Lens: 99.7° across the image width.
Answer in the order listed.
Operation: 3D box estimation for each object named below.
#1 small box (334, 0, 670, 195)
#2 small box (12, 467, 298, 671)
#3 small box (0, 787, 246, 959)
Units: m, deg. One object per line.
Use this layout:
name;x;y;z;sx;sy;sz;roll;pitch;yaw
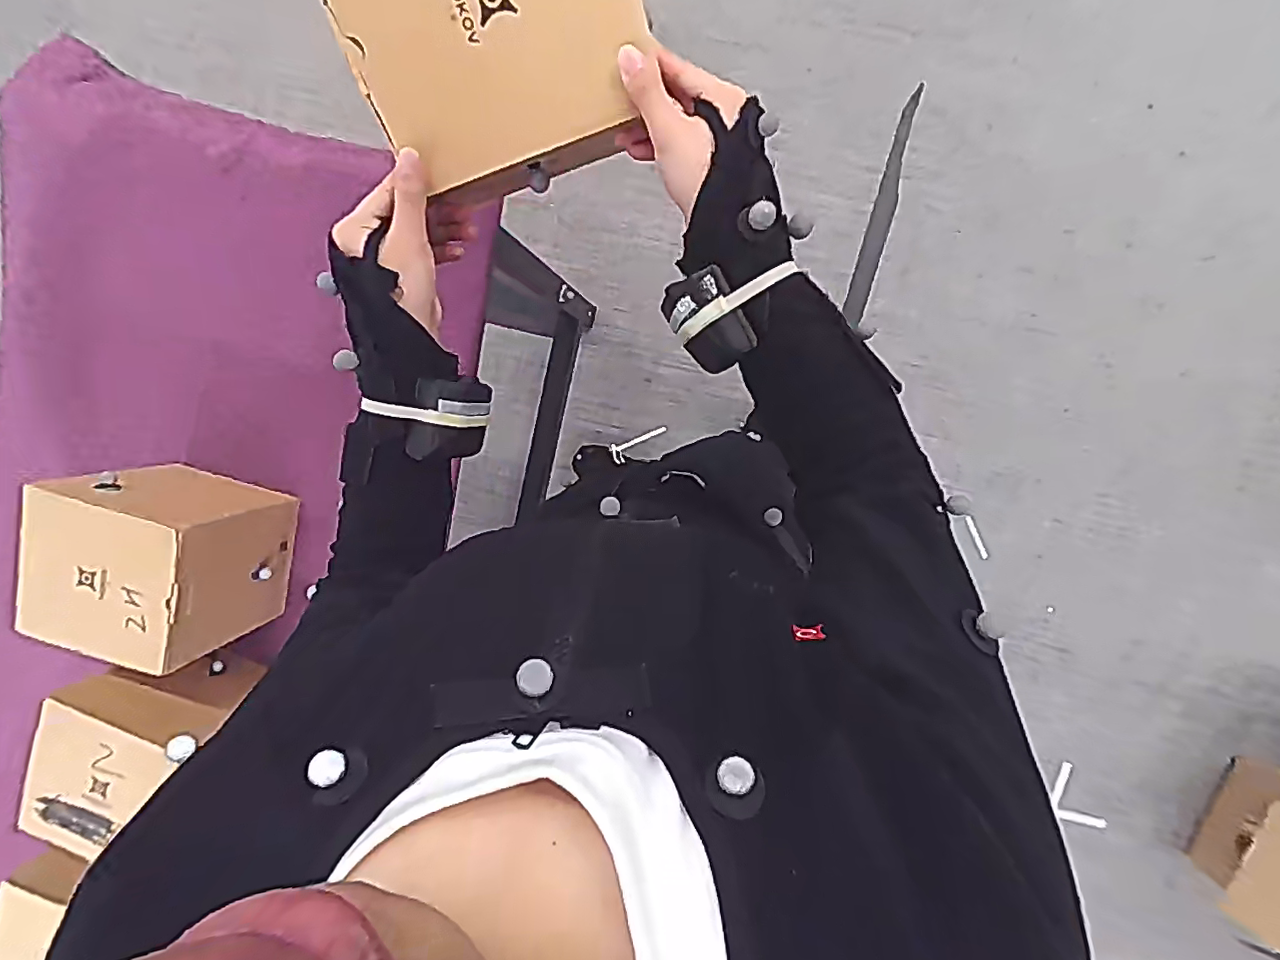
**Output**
small box;-0.092;-0.317;0.381;0.179;0.176;0.168;-17;115;5
small box;-0.546;0.086;0.627;0.179;0.176;0.168;15;100;3
small box;-0.665;0.543;0.703;0.179;0.176;0.168;20;99;2
